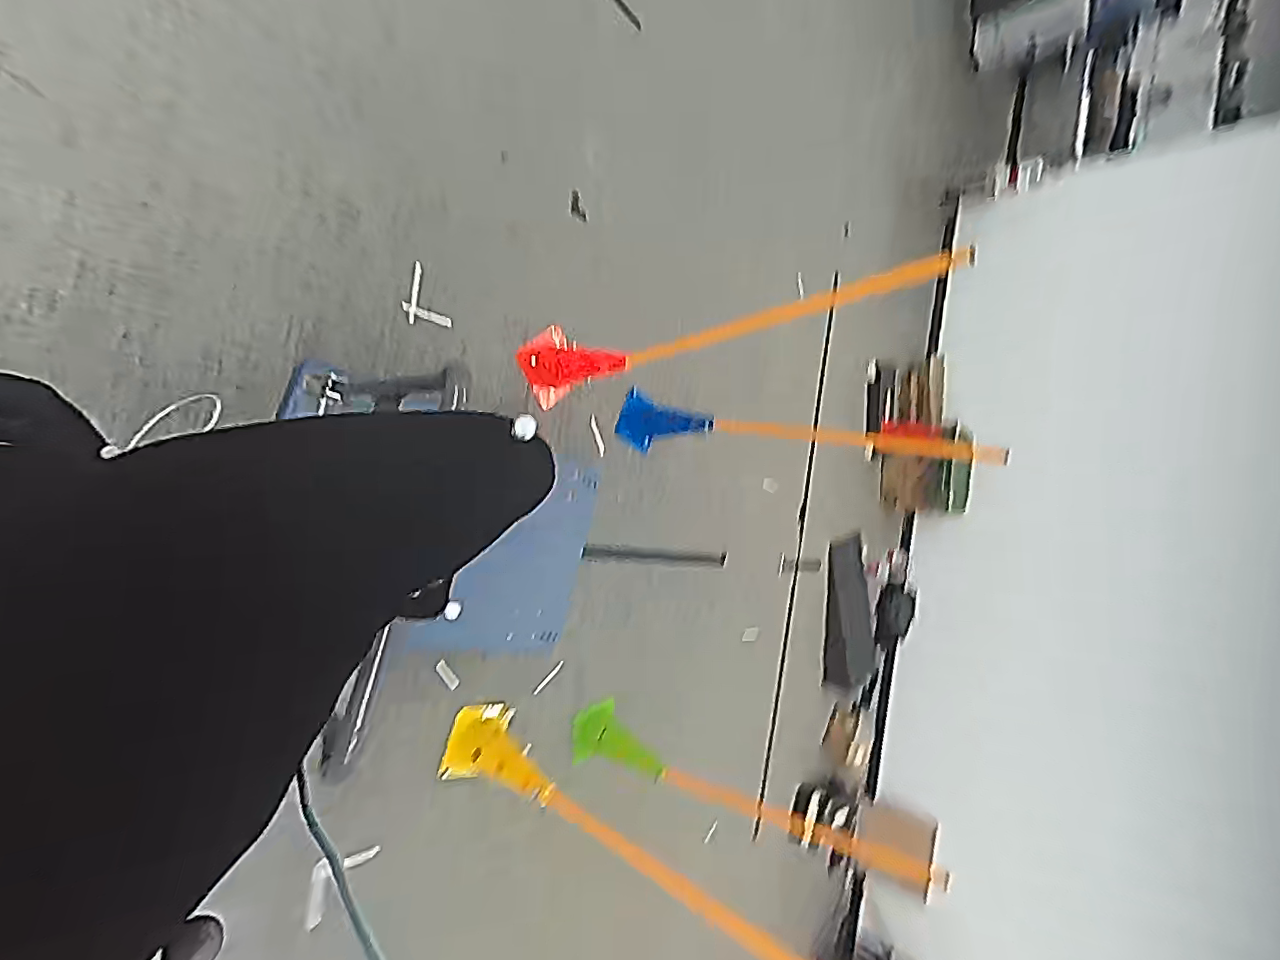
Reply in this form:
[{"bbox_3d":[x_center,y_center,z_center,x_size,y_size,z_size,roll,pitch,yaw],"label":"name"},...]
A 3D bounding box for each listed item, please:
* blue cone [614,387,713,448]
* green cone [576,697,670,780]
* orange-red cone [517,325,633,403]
[{"bbox_3d":[0.105,-0.217,1.932,0.192,0.380,0.193,32,72,-44],"label":"blue cone"},{"bbox_3d":[-0.038,0.956,1.917,0.202,0.368,0.200,-9,102,-45],"label":"green cone"},{"bbox_3d":[-0.160,-0.349,1.602,0.198,0.360,0.199,-46,128,-33],"label":"orange-red cone"}]
